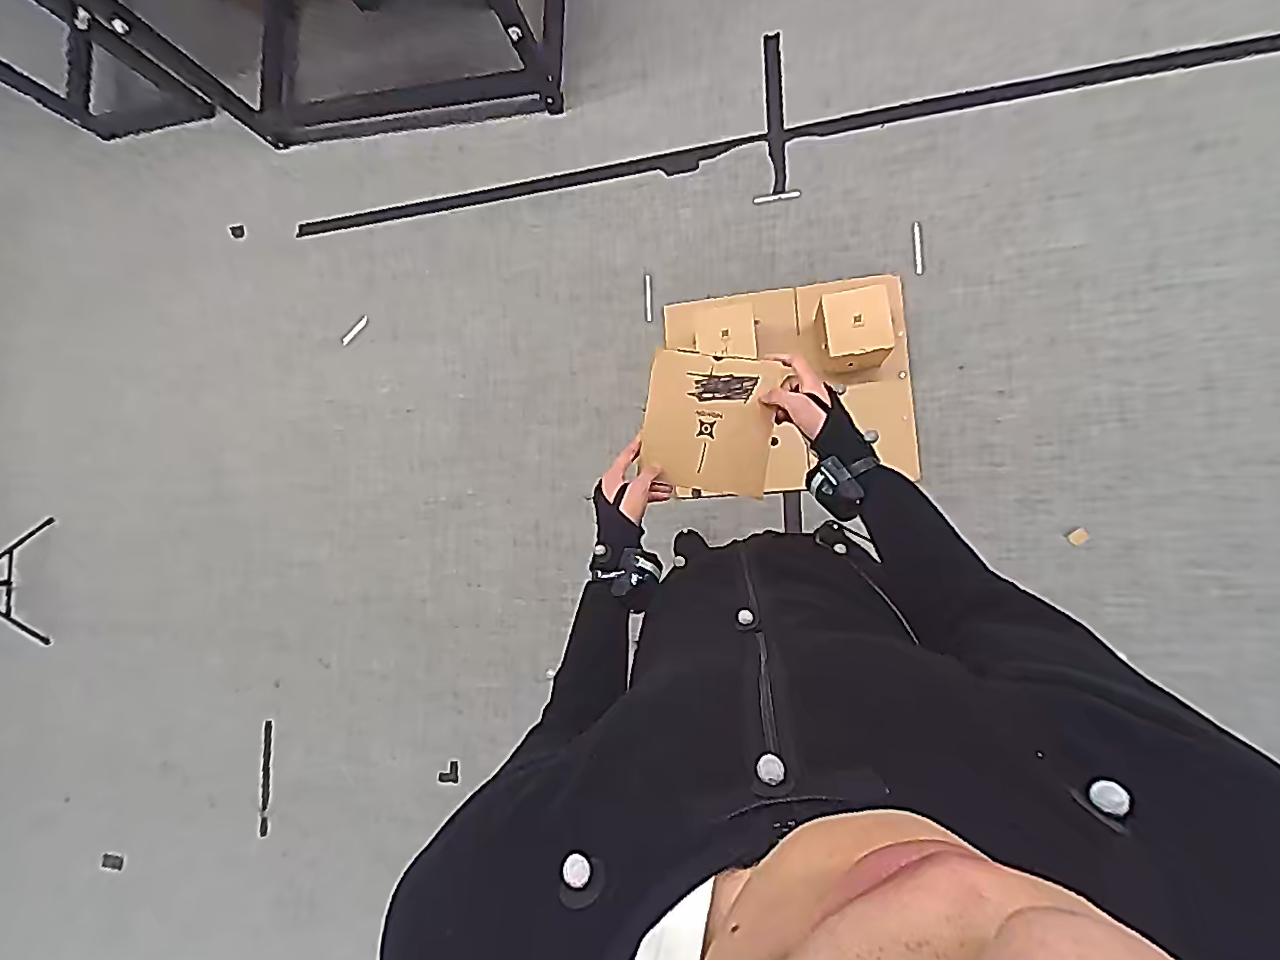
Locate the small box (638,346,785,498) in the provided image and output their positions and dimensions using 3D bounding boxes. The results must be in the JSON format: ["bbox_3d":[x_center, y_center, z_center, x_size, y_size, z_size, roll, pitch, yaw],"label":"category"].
[{"bbox_3d":[0.099,-0.076,0.766,0.168,0.176,0.179,9,92,8],"label":"small box"}]

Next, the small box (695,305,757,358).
[{"bbox_3d":[0.253,-0.385,1.570,0.168,0.176,0.179,-5,85,13],"label":"small box"}]

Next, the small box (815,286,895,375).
[{"bbox_3d":[0.590,-0.408,1.503,0.168,0.176,0.179,-8,84,12],"label":"small box"}]
